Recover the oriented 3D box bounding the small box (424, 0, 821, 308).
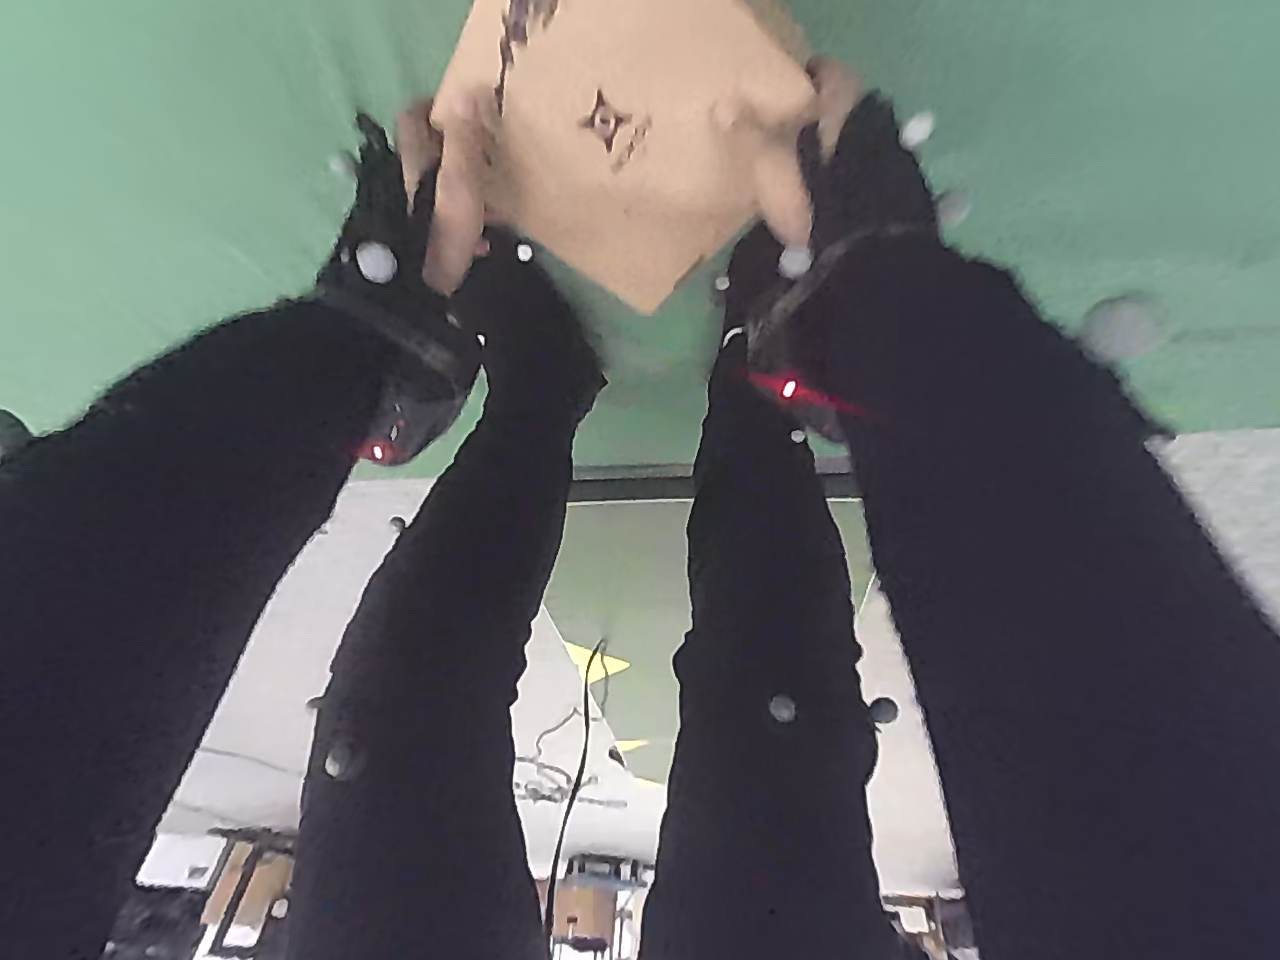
[{"bbox_3d":[-0.008,-0.261,0.360,0.179,0.176,0.168,29,135,-26],"label":"small box"}]
